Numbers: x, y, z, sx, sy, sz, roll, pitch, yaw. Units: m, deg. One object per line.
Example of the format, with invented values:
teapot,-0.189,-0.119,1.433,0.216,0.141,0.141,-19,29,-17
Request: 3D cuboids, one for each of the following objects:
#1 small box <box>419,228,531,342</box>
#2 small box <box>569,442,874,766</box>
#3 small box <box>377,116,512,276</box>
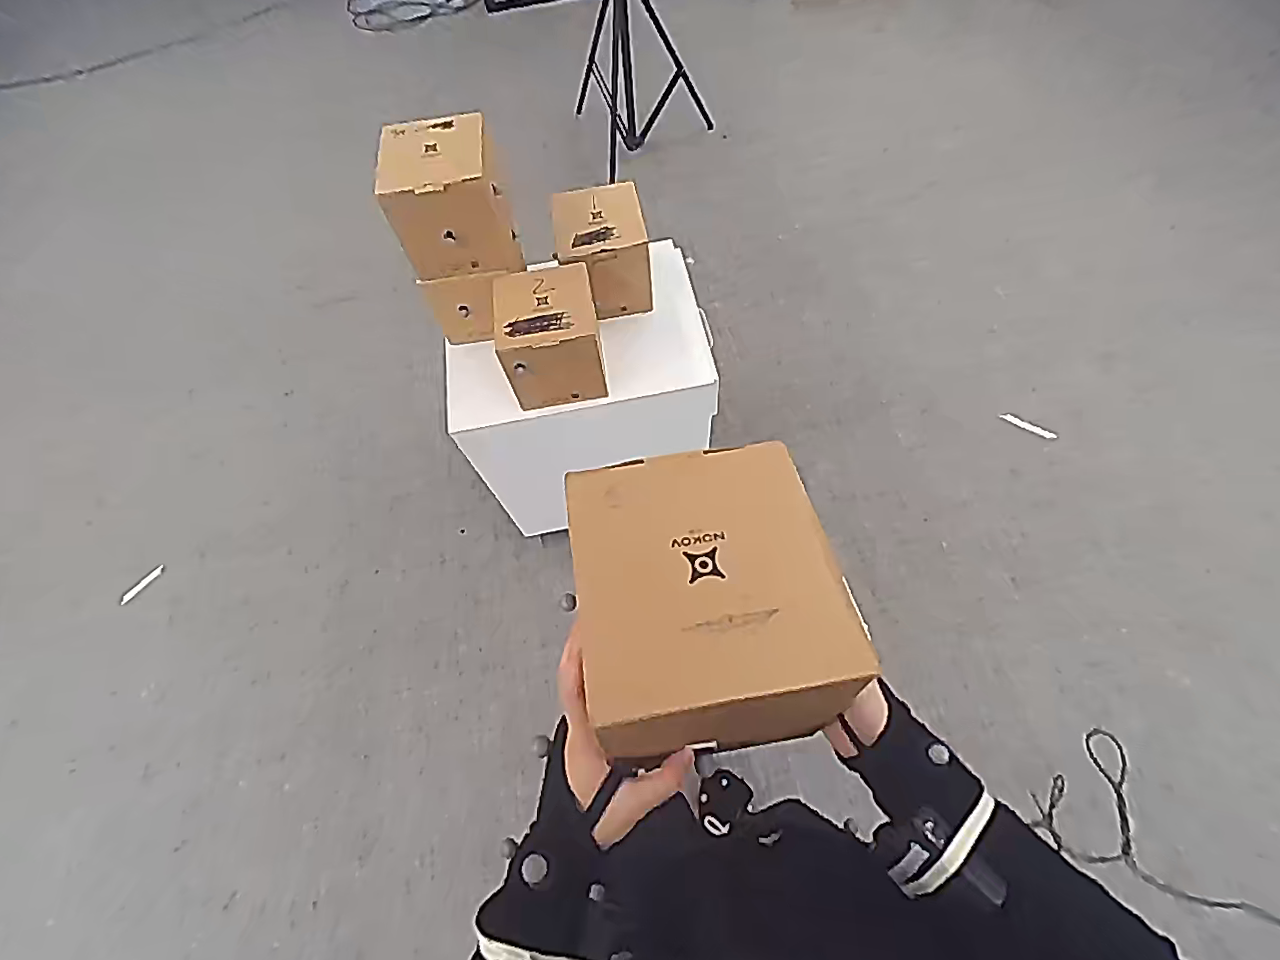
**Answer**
small box,-0.314,-0.387,1.056,0.168,0.176,0.179,-8,63,0
small box,0.041,0.097,0.411,0.168,0.176,0.179,-8,54,-4
small box,-0.318,-0.467,0.913,0.168,0.176,0.179,-9,64,-1
